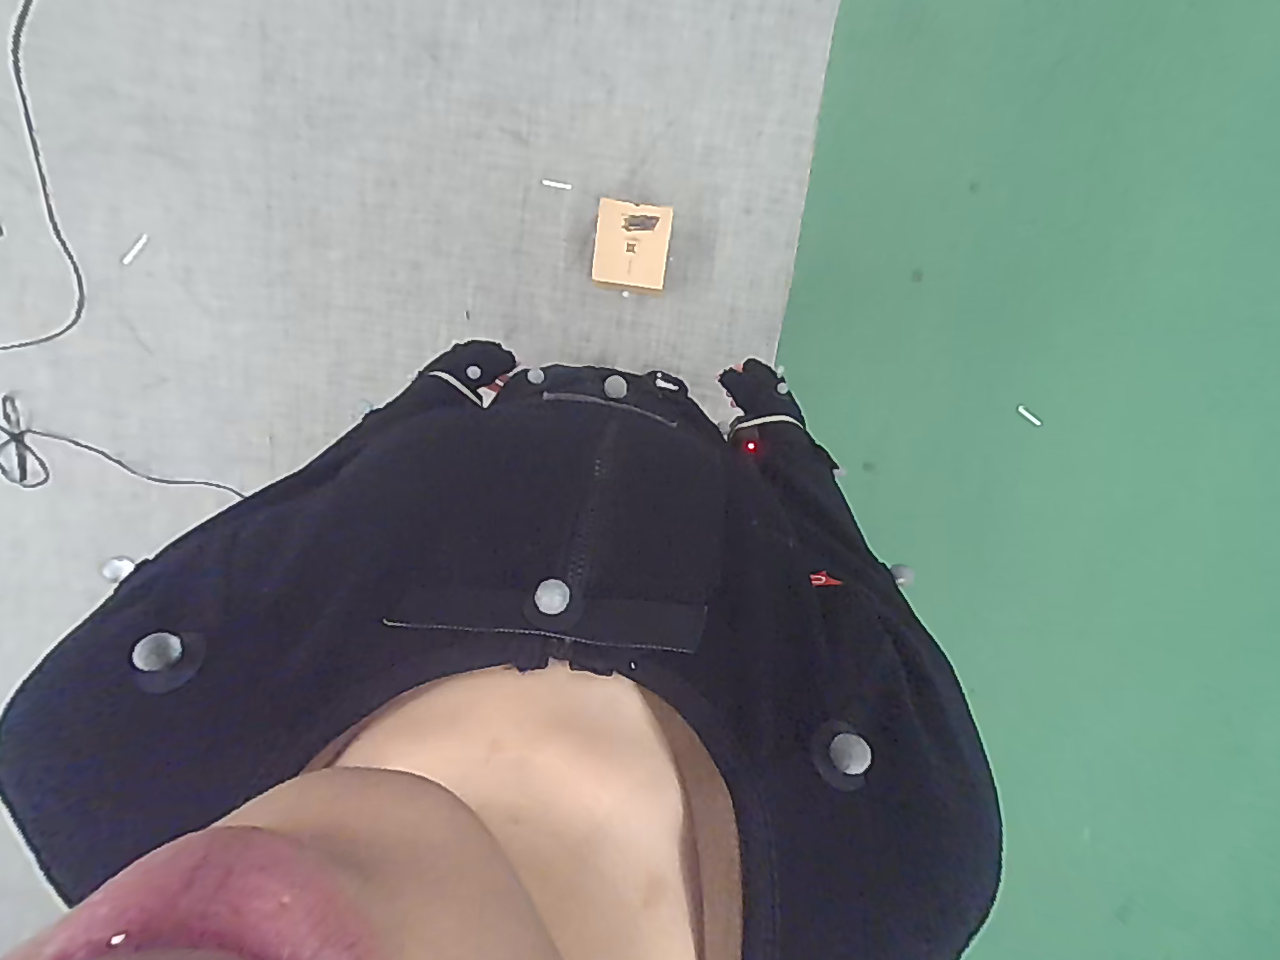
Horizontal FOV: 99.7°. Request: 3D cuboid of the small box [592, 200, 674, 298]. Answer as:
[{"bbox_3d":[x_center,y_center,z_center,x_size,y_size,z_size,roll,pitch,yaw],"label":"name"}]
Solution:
[{"bbox_3d":[-0.017,-0.538,1.282,0.168,0.176,0.179,7,104,-1],"label":"small box"}]
